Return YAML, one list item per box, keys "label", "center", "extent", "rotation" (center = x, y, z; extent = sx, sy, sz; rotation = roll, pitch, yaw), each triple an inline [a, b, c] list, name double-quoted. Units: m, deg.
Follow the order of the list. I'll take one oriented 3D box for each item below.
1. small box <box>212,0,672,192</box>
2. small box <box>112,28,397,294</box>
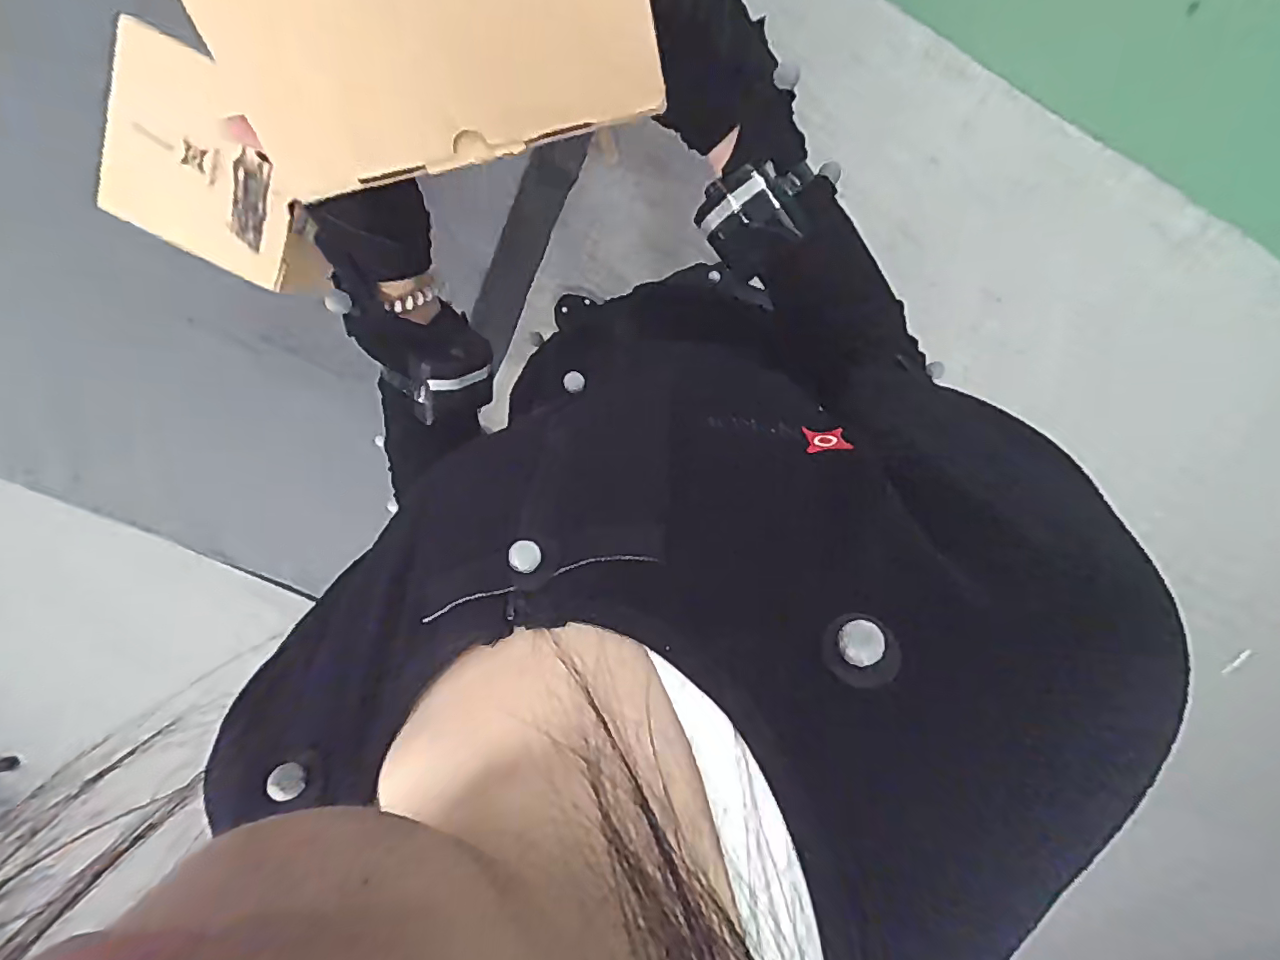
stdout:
- label: "small box"
  center: [-0.086, -0.258, 0.244]
  extent: [0.168, 0.176, 0.179]
  rotation: [-11, 130, 6]
- label: "small box"
  center: [-0.392, -0.318, 0.578]
  extent: [0.179, 0.176, 0.168]
  rotation: [25, 109, -6]
